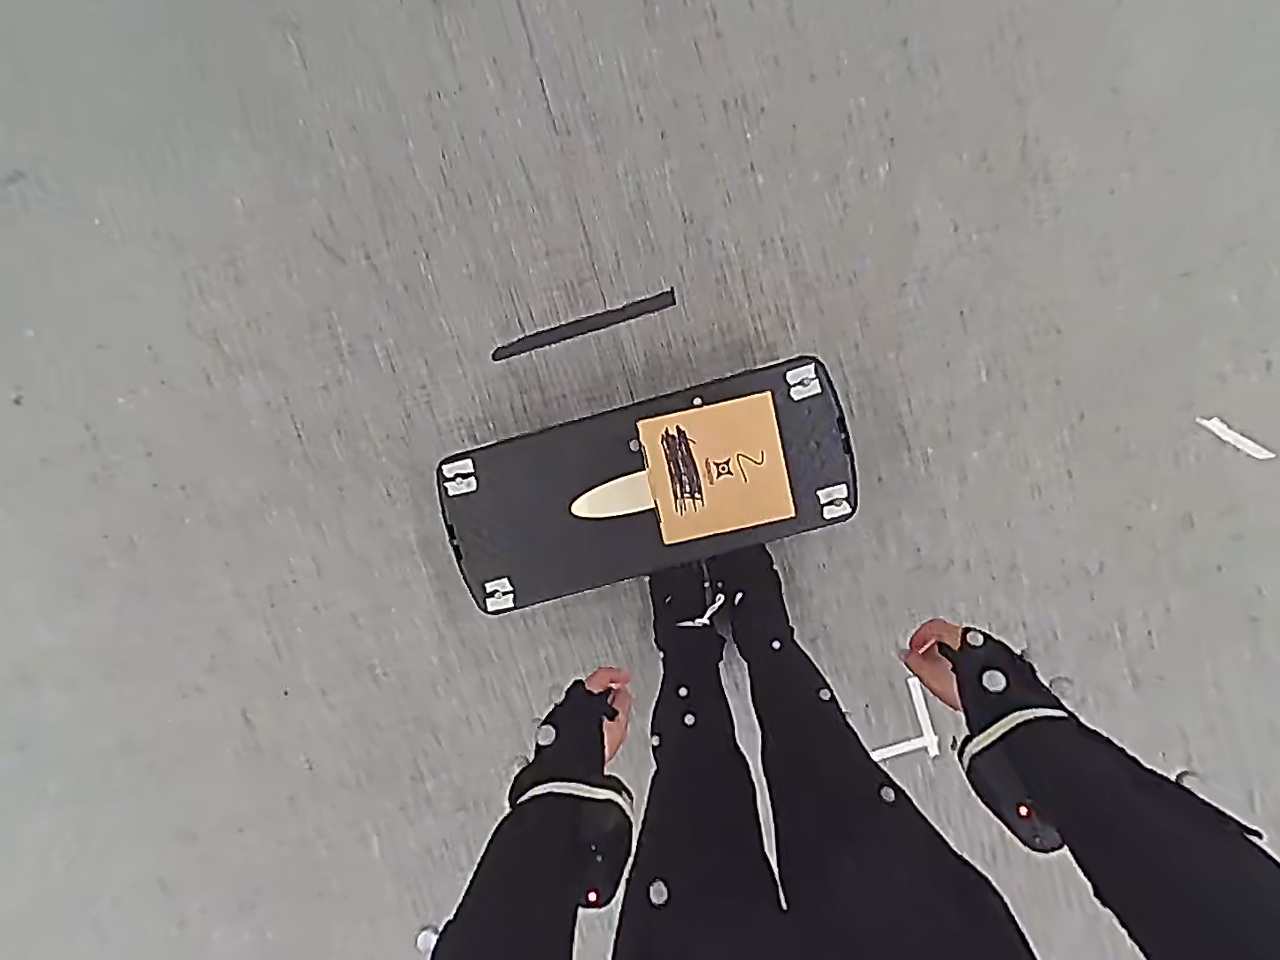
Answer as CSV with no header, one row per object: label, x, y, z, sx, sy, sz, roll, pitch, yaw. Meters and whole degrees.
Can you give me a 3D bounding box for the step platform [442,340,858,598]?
step platform,0.016,-0.020,0.951,0.684,0.204,0.286,-16,95,3
